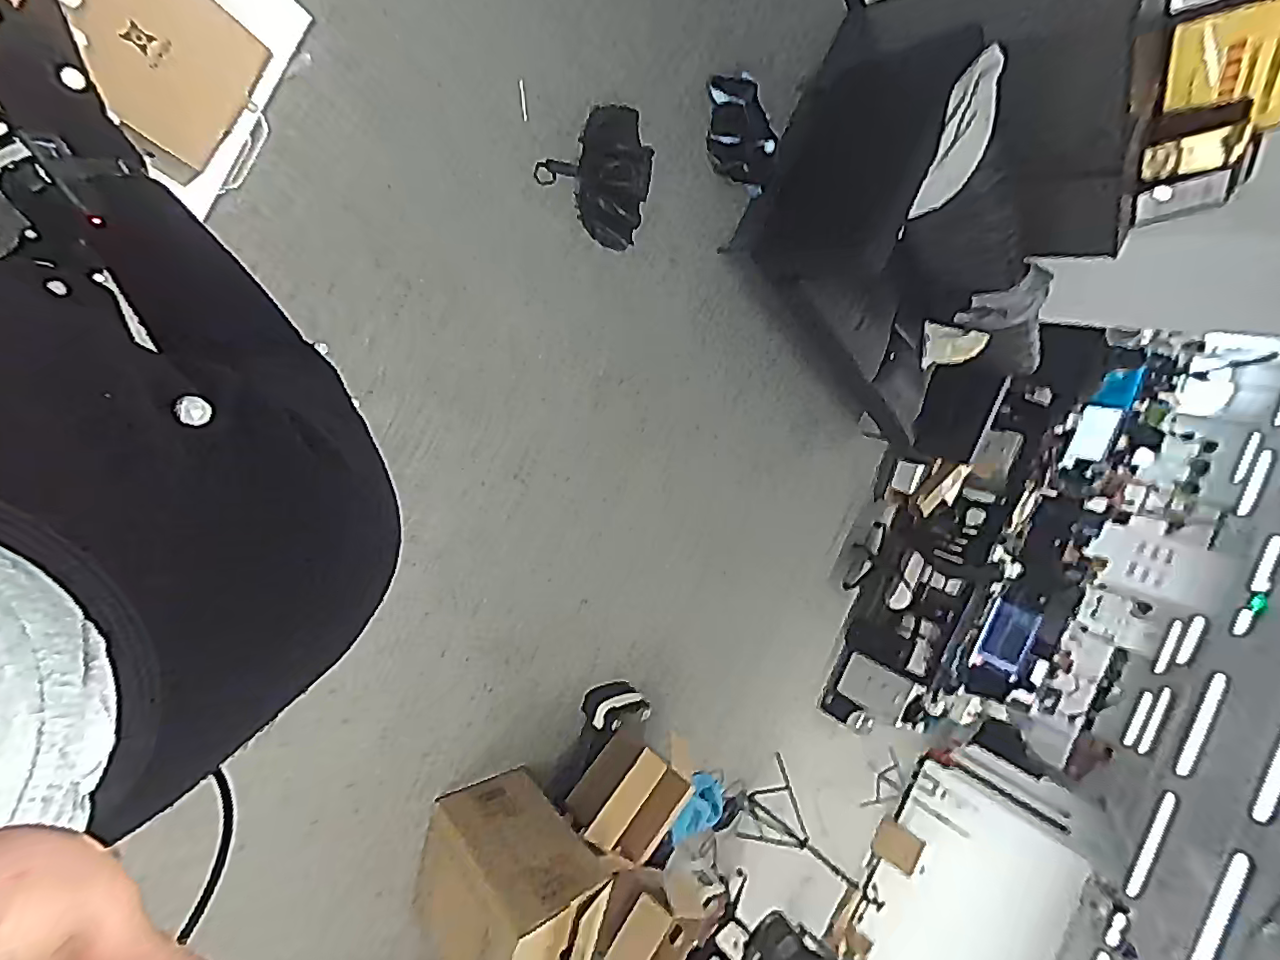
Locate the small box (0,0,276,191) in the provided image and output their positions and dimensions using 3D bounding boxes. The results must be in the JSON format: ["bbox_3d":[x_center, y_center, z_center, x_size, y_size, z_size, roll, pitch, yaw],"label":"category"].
[{"bbox_3d":[-0.550,-0.448,0.597,0.179,0.176,0.168,30,83,-46],"label":"small box"}]
